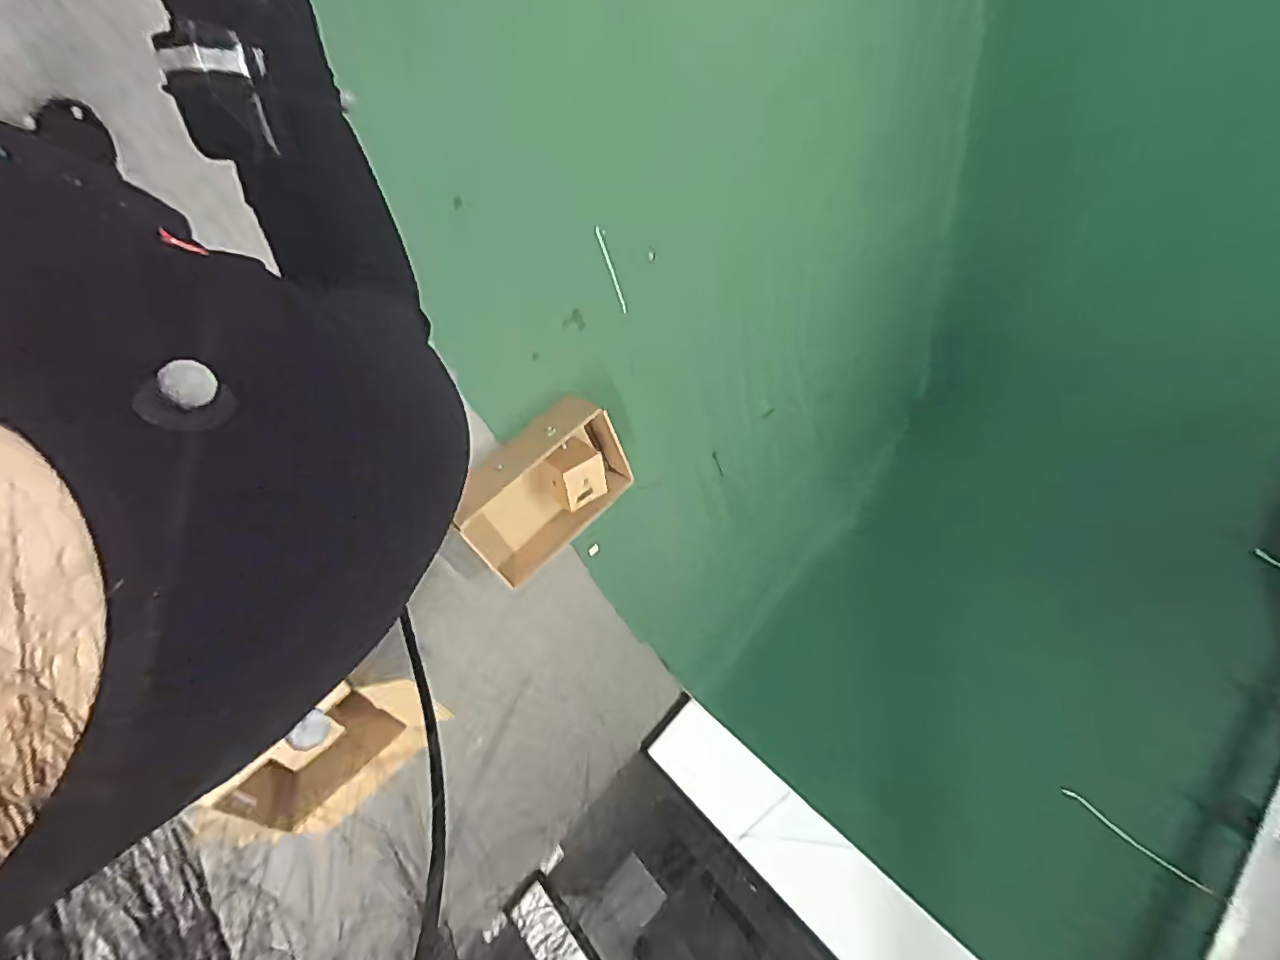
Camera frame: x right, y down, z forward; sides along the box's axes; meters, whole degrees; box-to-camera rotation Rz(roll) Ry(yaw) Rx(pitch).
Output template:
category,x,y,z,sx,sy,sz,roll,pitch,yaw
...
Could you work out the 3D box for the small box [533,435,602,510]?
category,x,y,z,sx,sy,sz,roll,pitch,yaw
small box,-0.258,-0.032,1.922,0.168,0.176,0.179,-32,136,-29
